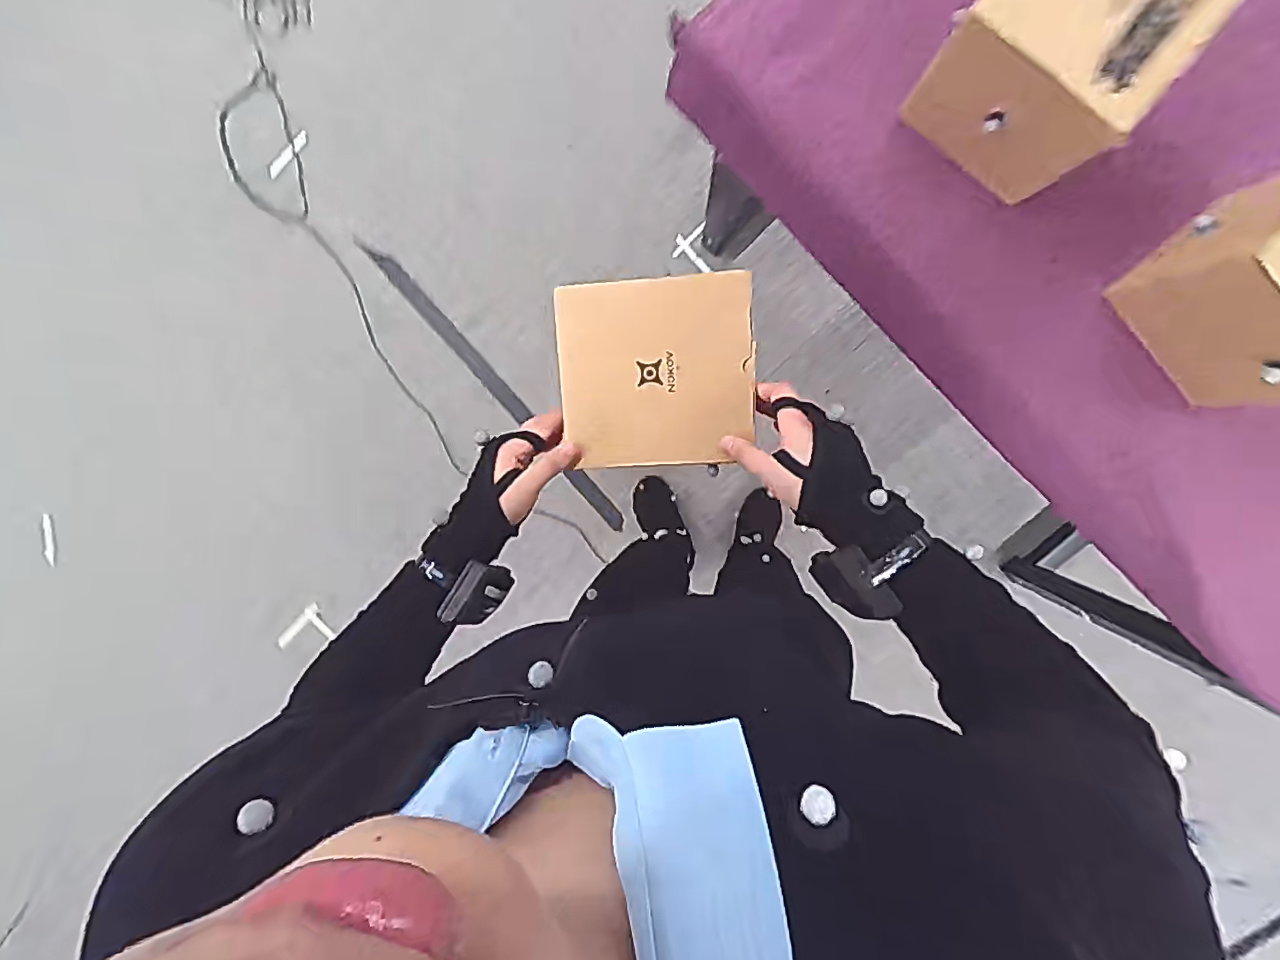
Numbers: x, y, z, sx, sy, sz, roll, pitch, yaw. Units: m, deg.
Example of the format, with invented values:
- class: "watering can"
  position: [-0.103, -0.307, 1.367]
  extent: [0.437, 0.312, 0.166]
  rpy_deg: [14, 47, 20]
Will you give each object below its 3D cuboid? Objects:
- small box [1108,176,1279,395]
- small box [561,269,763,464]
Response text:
- class: "small box"
  position: [0.655, -0.201, 0.551]
  extent: [0.168, 0.176, 0.179]
  rpy_deg: [-41, 92, 7]
- class: "small box"
  position: [0.029, -0.103, 0.547]
  extent: [0.179, 0.176, 0.168]
  rpy_deg: [-1, 97, 7]
